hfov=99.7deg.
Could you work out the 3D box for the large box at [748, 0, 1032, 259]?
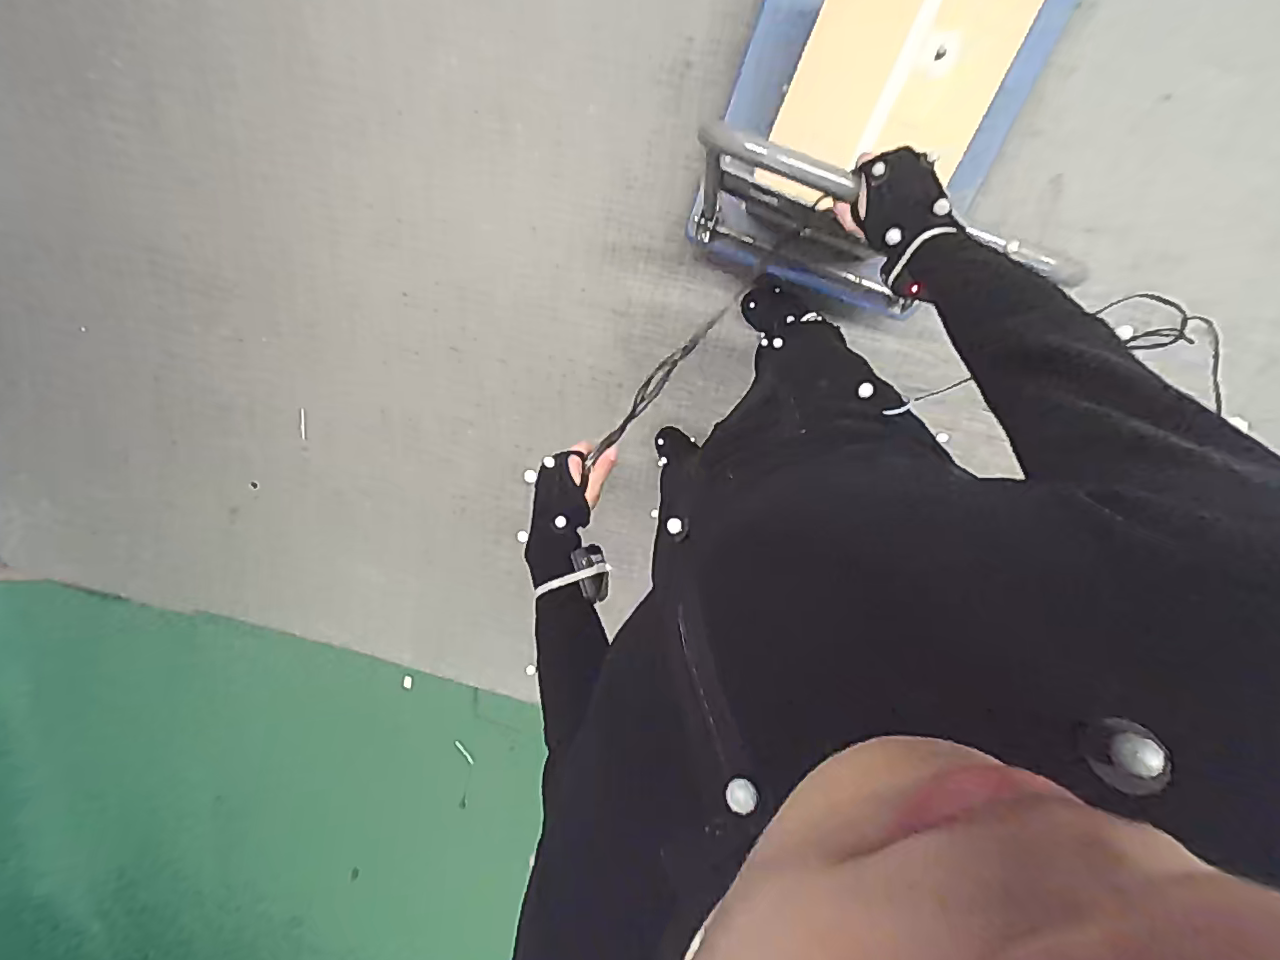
[{"bbox_3d":[0.428,-0.691,1.041,0.320,0.320,0.408,23,109,1],"label":"large box"}]
